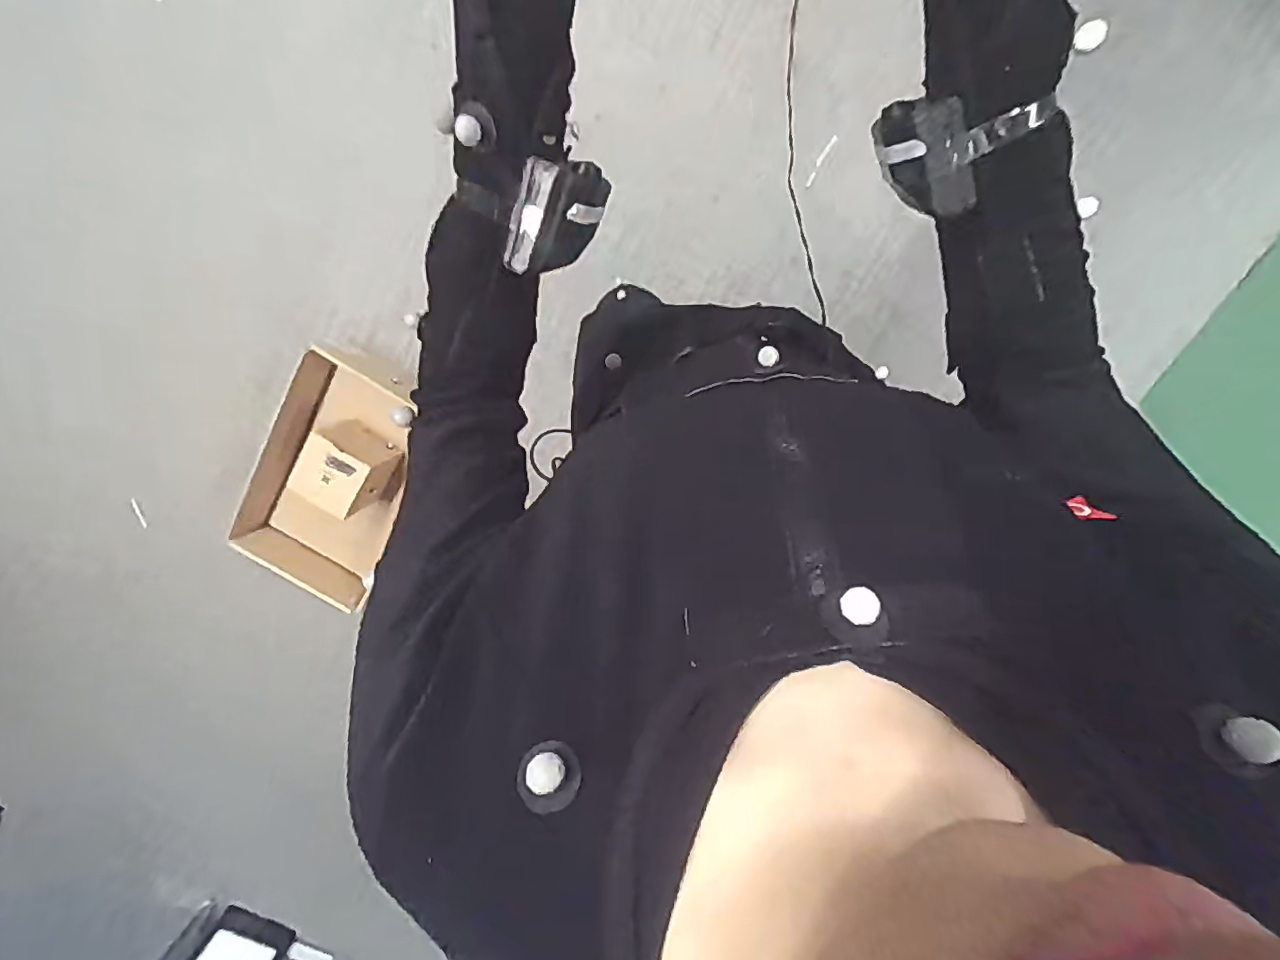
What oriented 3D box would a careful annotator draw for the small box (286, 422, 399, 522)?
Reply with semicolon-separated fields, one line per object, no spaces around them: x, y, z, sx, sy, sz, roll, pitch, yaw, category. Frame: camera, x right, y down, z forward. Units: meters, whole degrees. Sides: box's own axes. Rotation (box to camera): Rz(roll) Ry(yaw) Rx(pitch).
-0.758;-0.029;1.400;0.168;0.176;0.179;35;108;-5;small box
